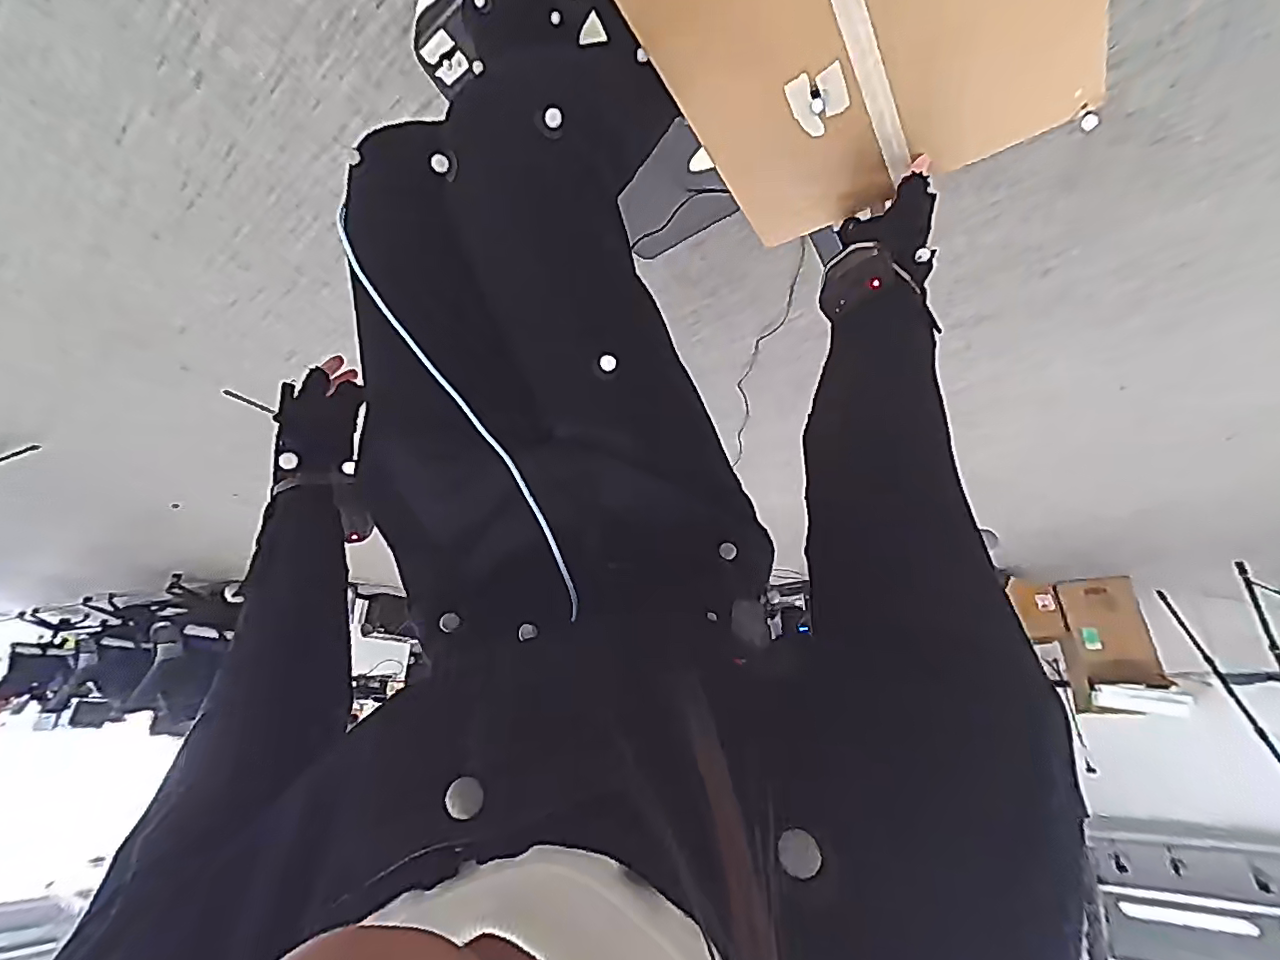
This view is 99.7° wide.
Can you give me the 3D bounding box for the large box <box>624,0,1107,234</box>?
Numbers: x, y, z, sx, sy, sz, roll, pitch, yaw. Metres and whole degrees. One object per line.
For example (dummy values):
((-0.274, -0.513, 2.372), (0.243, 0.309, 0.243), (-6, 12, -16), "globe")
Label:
((0.176, -0.524, 0.473), (0.320, 0.320, 0.408), (-10, 152, 36), "large box")
